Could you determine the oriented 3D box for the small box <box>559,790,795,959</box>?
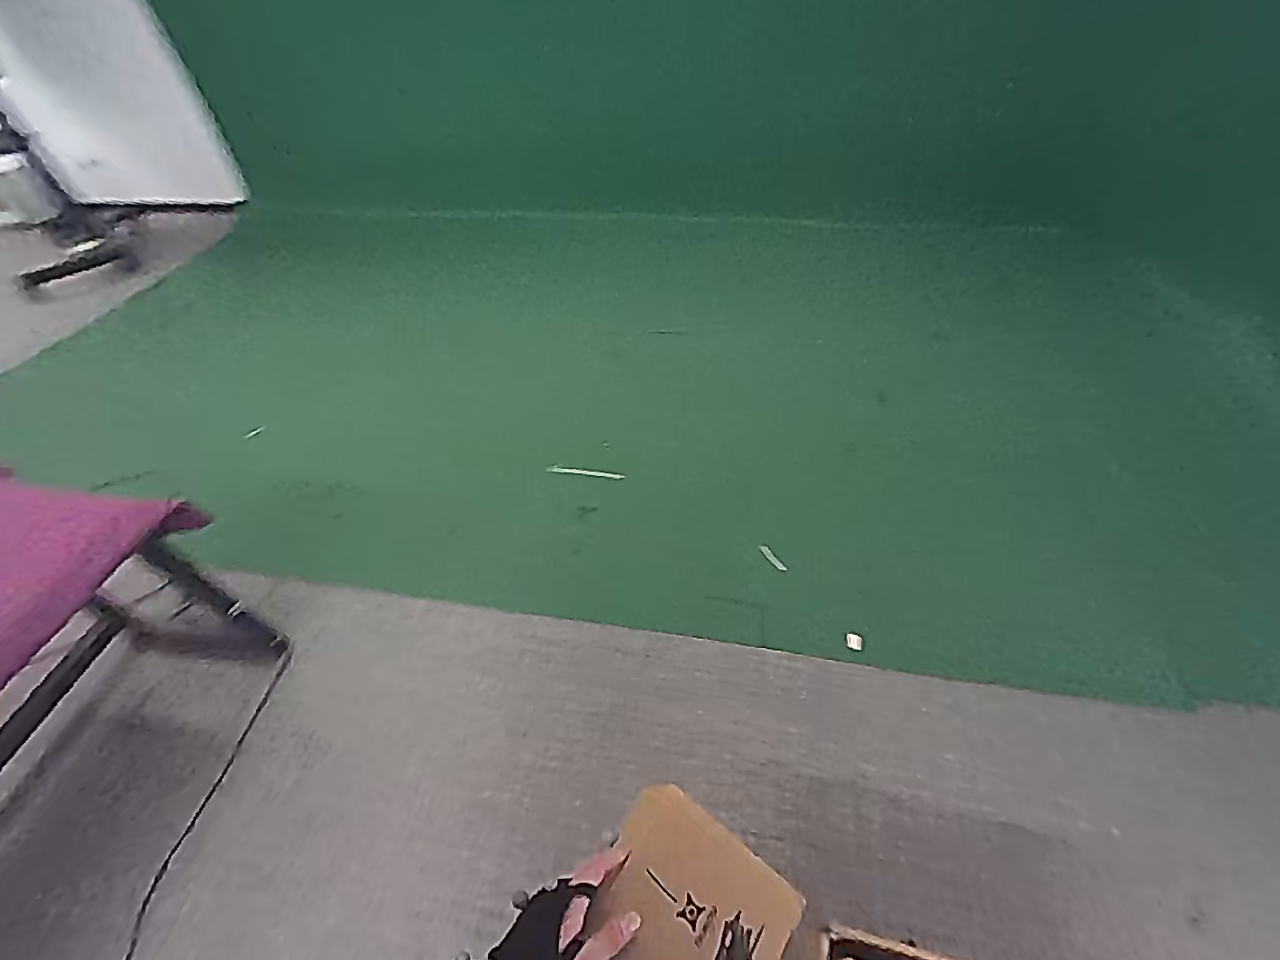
[{"bbox_3d":[0.030,0.470,0.592,0.179,0.176,0.168,36,58,10],"label":"small box"}]
